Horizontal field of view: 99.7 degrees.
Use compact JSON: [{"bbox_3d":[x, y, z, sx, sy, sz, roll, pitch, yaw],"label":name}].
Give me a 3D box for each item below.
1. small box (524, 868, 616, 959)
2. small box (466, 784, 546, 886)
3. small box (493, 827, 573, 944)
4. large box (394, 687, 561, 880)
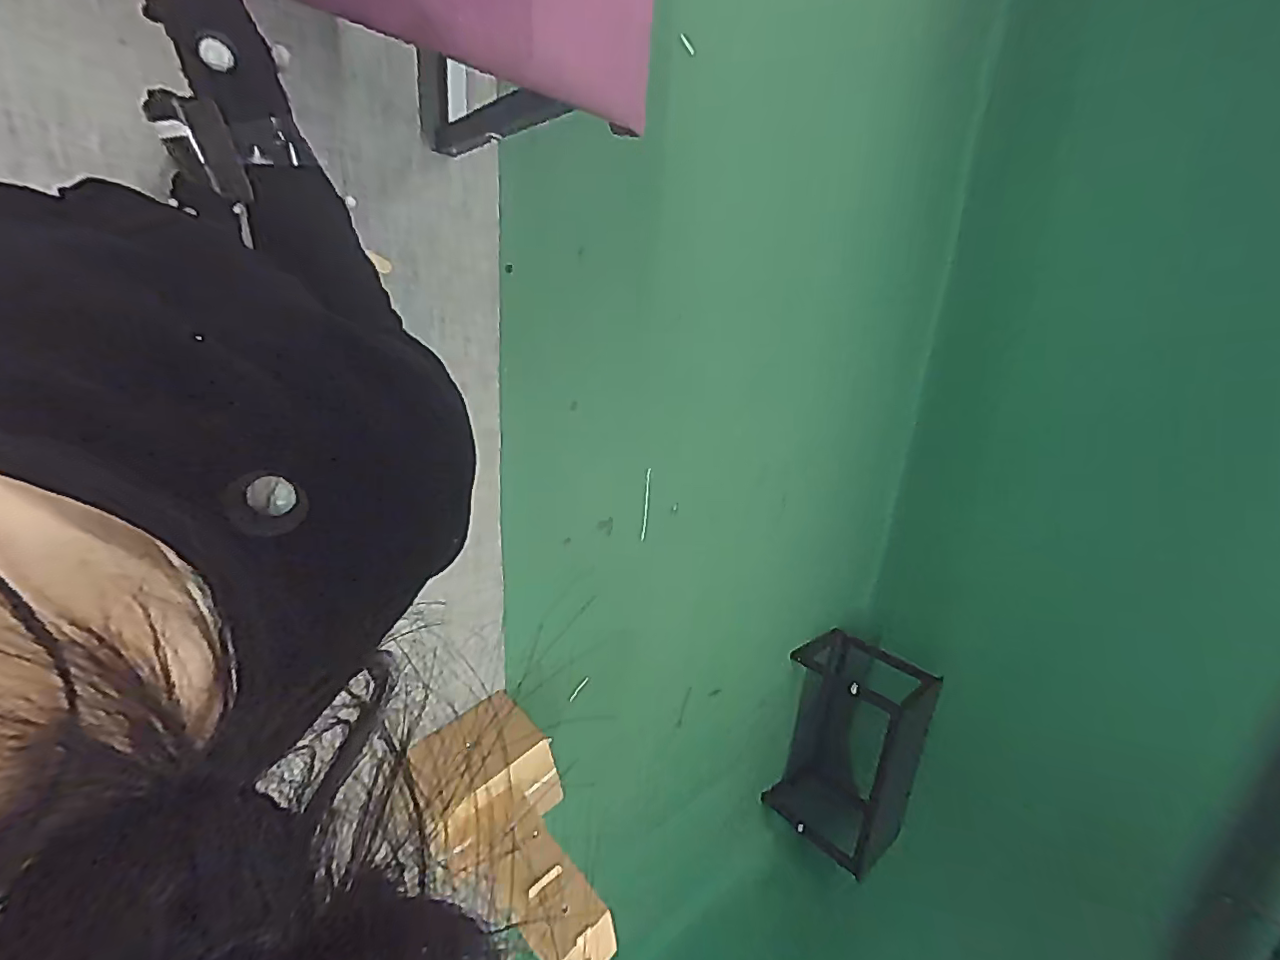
[{"bbox_3d":[-0.185,1.165,1.405,0.168,0.176,0.179,-22,117,-36],"label":"small box"},{"bbox_3d":[-0.398,1.072,1.637,0.179,0.176,0.168,-23,118,-35],"label":"small box"},{"bbox_3d":[-0.297,1.121,1.518,0.168,0.176,0.179,-21,118,-37],"label":"small box"},{"bbox_3d":[-0.540,0.997,1.824,0.408,0.320,0.320,-28,124,-35],"label":"large box"}]
